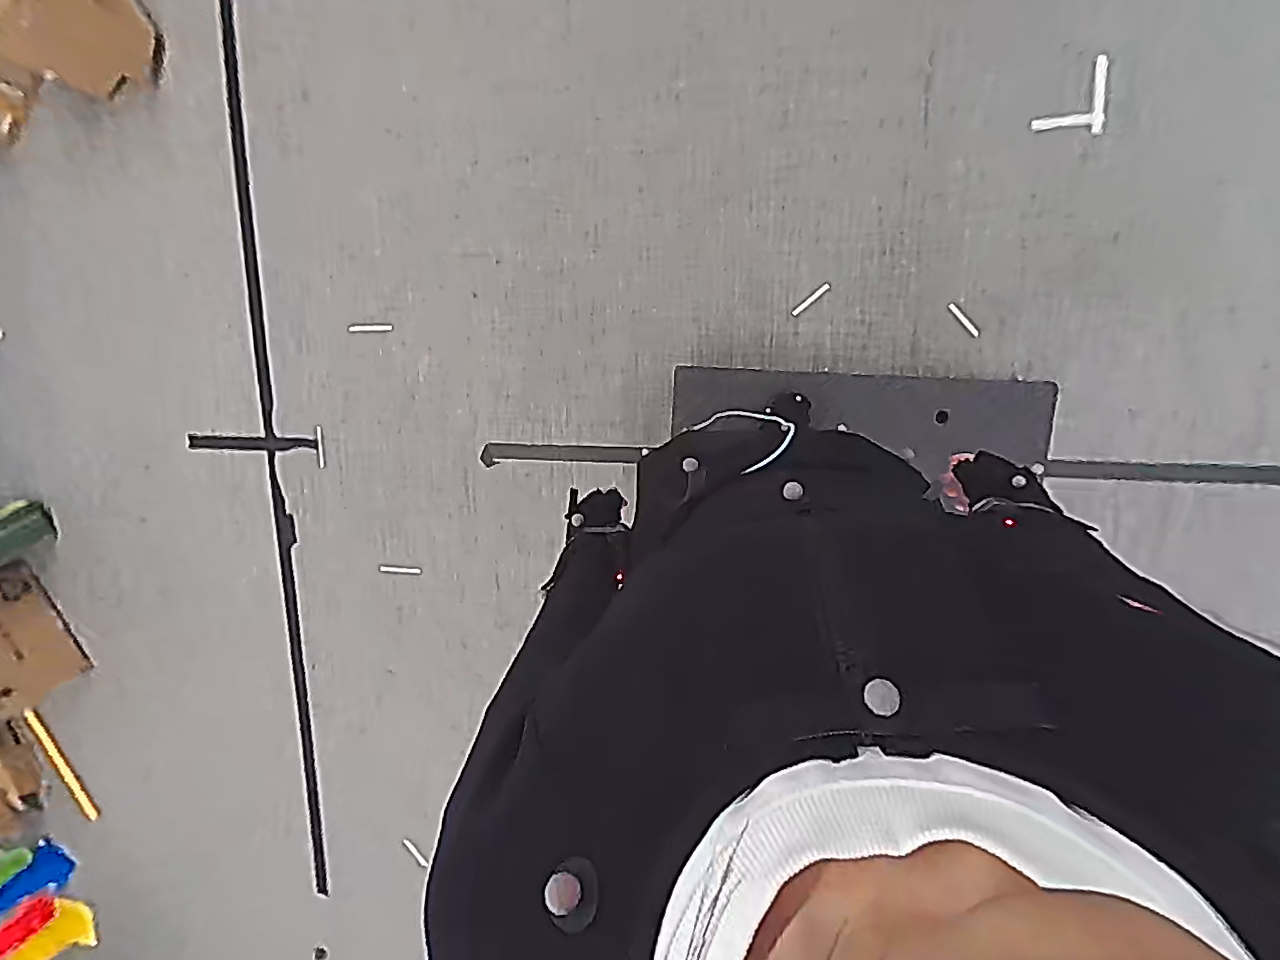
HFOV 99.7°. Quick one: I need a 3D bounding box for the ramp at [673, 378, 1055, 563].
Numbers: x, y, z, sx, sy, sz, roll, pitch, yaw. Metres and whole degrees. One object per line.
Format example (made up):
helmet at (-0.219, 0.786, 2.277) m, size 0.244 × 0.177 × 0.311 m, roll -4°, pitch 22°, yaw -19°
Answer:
ramp at (0.591, -0.023, 1.449) m, size 0.991 × 0.206 × 0.509 m, roll 1°, pitch 96°, yaw 10°
